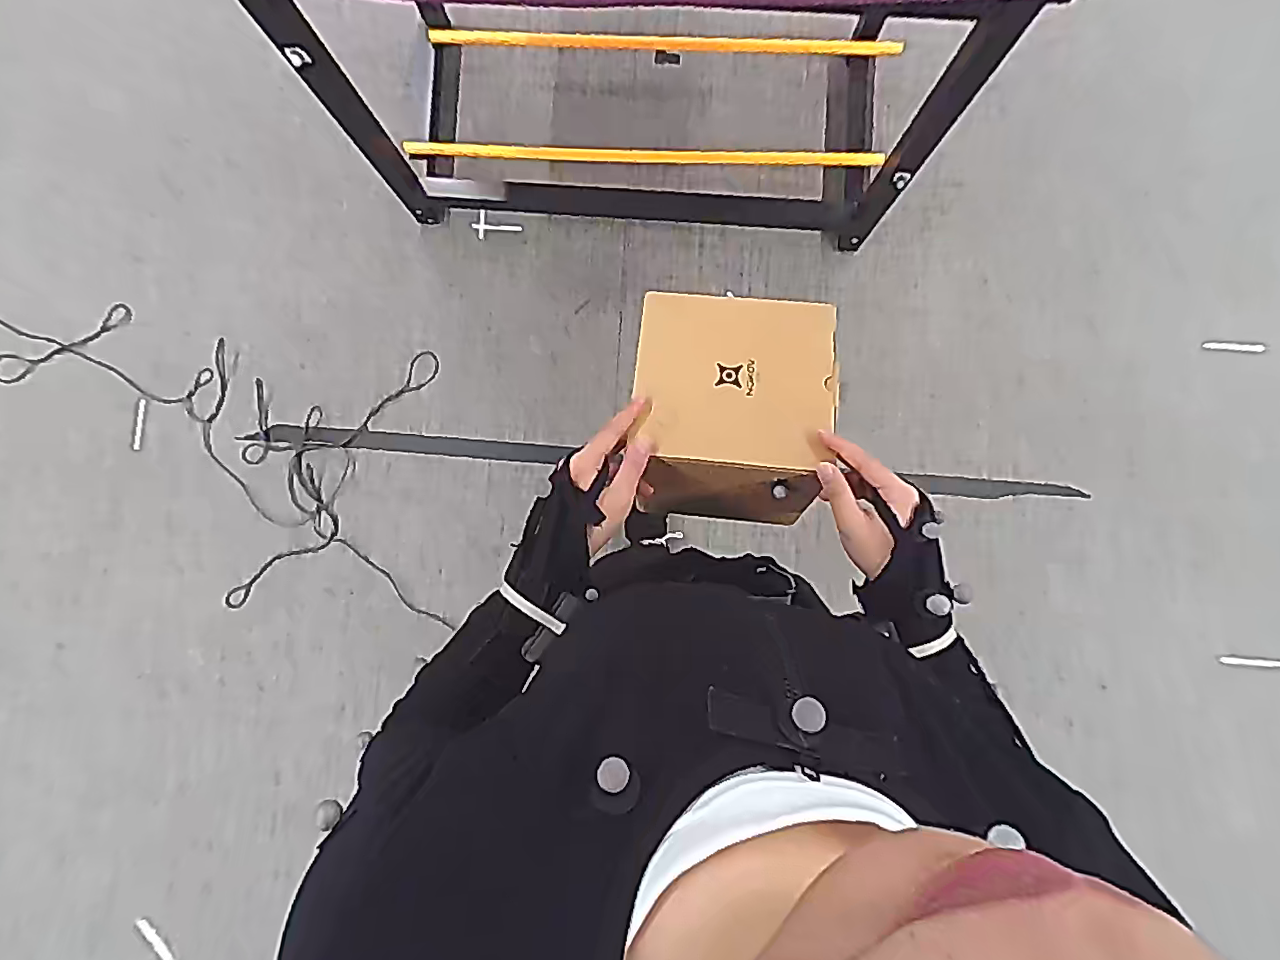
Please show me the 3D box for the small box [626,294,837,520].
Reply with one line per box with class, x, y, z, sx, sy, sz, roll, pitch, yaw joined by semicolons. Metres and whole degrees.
small box;0.087;-0.063;0.546;0.179;0.176;0.168;5;71;4
